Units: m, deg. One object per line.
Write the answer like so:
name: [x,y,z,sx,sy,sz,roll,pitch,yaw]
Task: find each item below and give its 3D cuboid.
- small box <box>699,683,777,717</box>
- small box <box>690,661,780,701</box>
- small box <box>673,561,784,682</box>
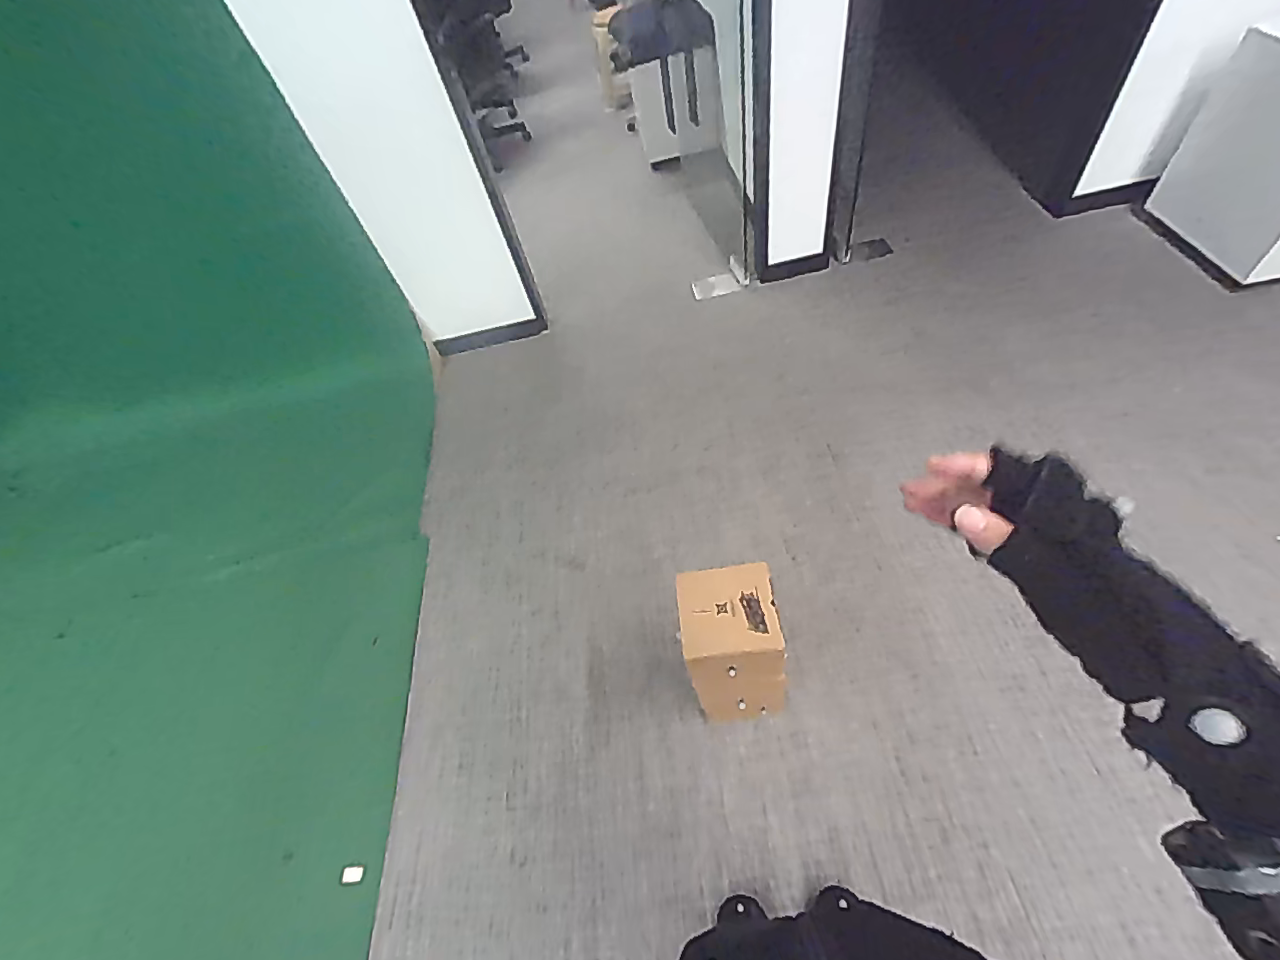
small box: [0.225,0.459,1.301,0.179,0.176,0.168,-11,53,6]
small box: [0.196,0.370,1.167,0.179,0.176,0.168,-6,54,7]
small box: [0.165,0.274,1.036,0.179,0.176,0.168,-10,53,3]
